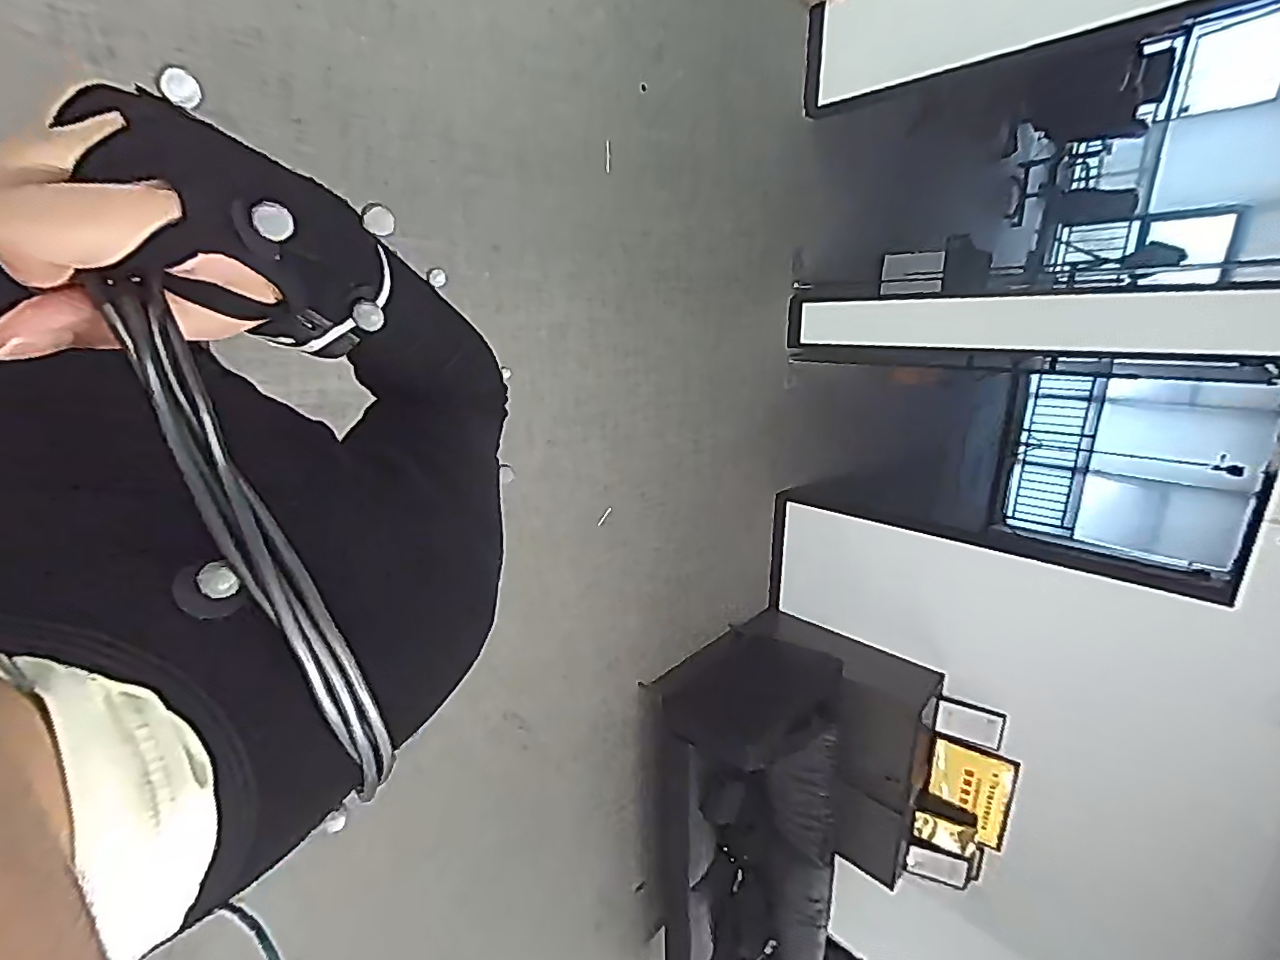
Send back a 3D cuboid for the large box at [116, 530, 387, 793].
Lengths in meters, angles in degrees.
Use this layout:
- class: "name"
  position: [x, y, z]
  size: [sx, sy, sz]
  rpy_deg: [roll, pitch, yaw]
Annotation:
- class: "large box"
  position: [-0.854, 0.384, 1.215]
  size: [0.320, 0.320, 0.408]
  rpy_deg: [-34, 126, -37]
